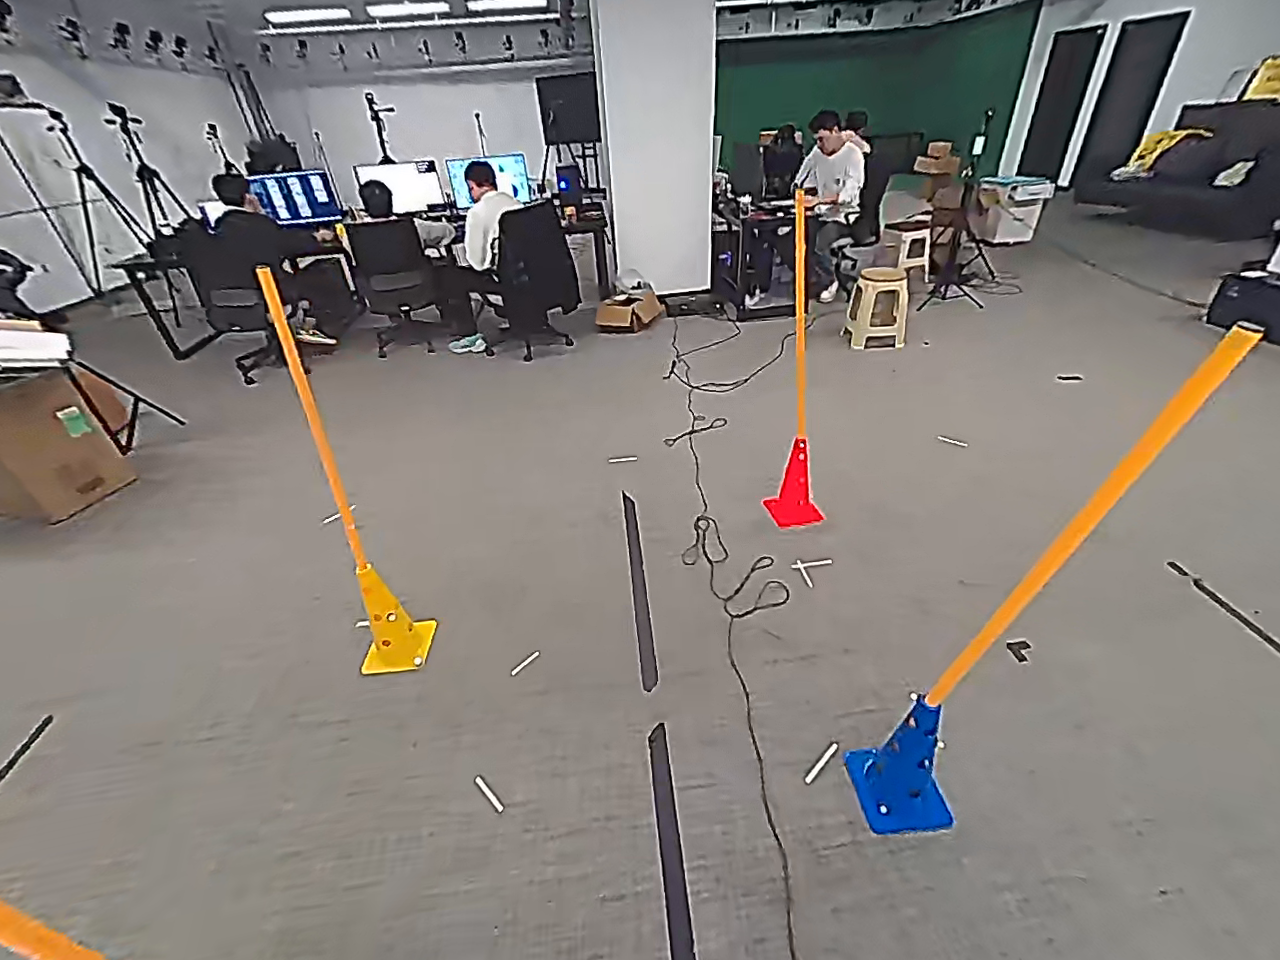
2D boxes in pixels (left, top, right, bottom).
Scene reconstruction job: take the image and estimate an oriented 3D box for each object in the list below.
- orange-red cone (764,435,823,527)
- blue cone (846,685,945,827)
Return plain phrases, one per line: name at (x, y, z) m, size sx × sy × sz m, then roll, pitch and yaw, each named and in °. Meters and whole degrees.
orange-red cone at (0.622, -0.016, 2.158) m, size 0.199 × 0.360 × 0.198 m, roll -10°, pitch 33°, yaw -6°
blue cone at (0.615, 0.612, 1.242) m, size 0.193 × 0.380 × 0.192 m, roll -5°, pitch 33°, yaw 0°
